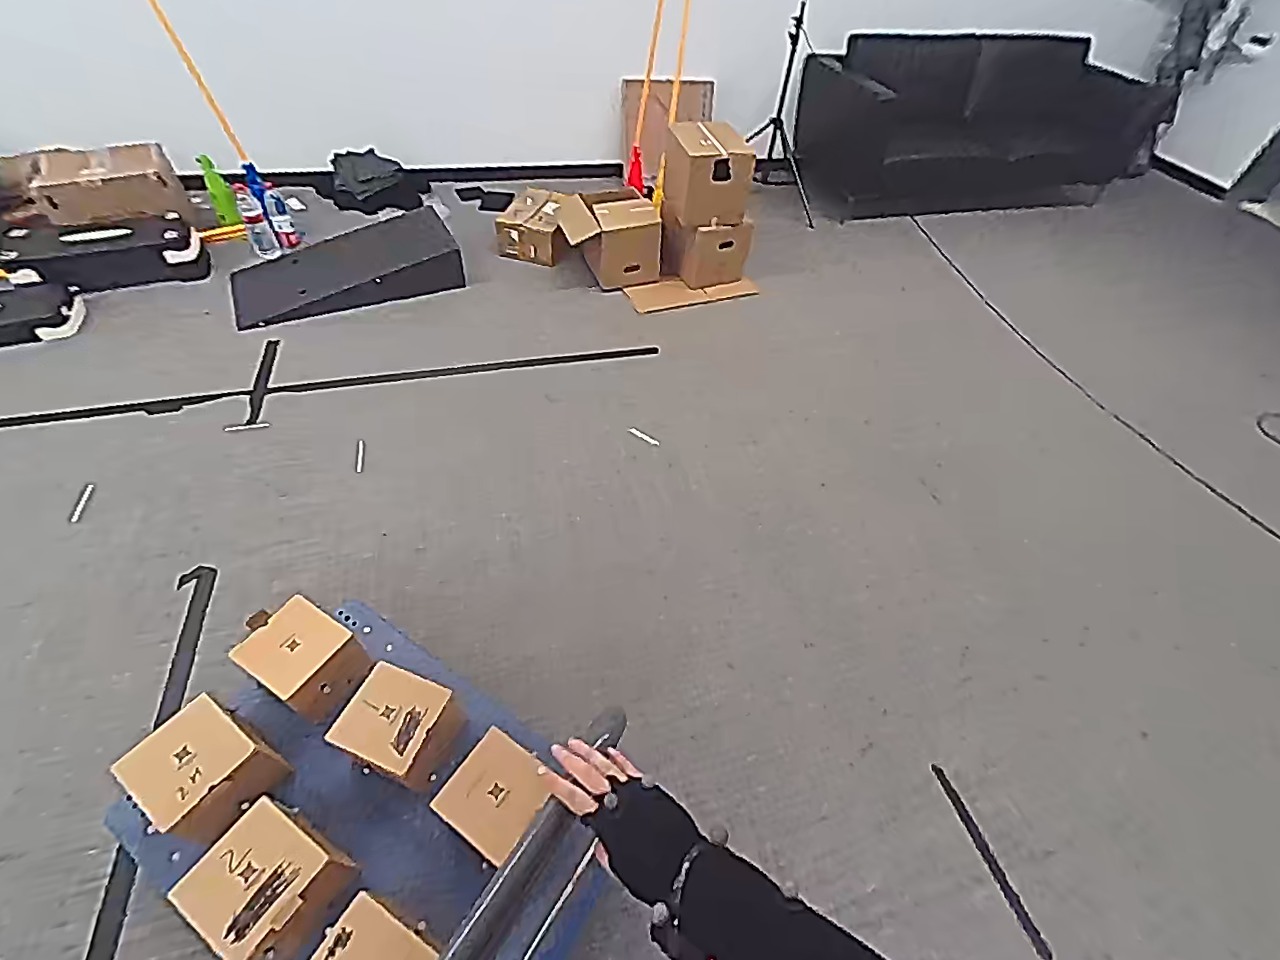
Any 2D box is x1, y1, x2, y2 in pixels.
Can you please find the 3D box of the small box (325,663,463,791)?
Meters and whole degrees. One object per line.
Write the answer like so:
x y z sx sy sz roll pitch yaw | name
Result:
-0.484 0.507 1.100 0.179 0.176 0.168 18 50 10 | small box

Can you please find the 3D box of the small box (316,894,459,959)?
-0.413 0.799 0.856 0.179 0.176 0.168 26 50 15 | small box

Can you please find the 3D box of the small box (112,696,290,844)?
-0.814 0.552 1.021 0.179 0.176 0.168 30 53 17 | small box

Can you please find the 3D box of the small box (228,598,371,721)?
-0.722 0.395 1.170 0.179 0.176 0.168 26 52 15 | small box

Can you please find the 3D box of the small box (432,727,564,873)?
-0.259 0.616 1.034 0.179 0.176 0.168 28 52 18 | small box
